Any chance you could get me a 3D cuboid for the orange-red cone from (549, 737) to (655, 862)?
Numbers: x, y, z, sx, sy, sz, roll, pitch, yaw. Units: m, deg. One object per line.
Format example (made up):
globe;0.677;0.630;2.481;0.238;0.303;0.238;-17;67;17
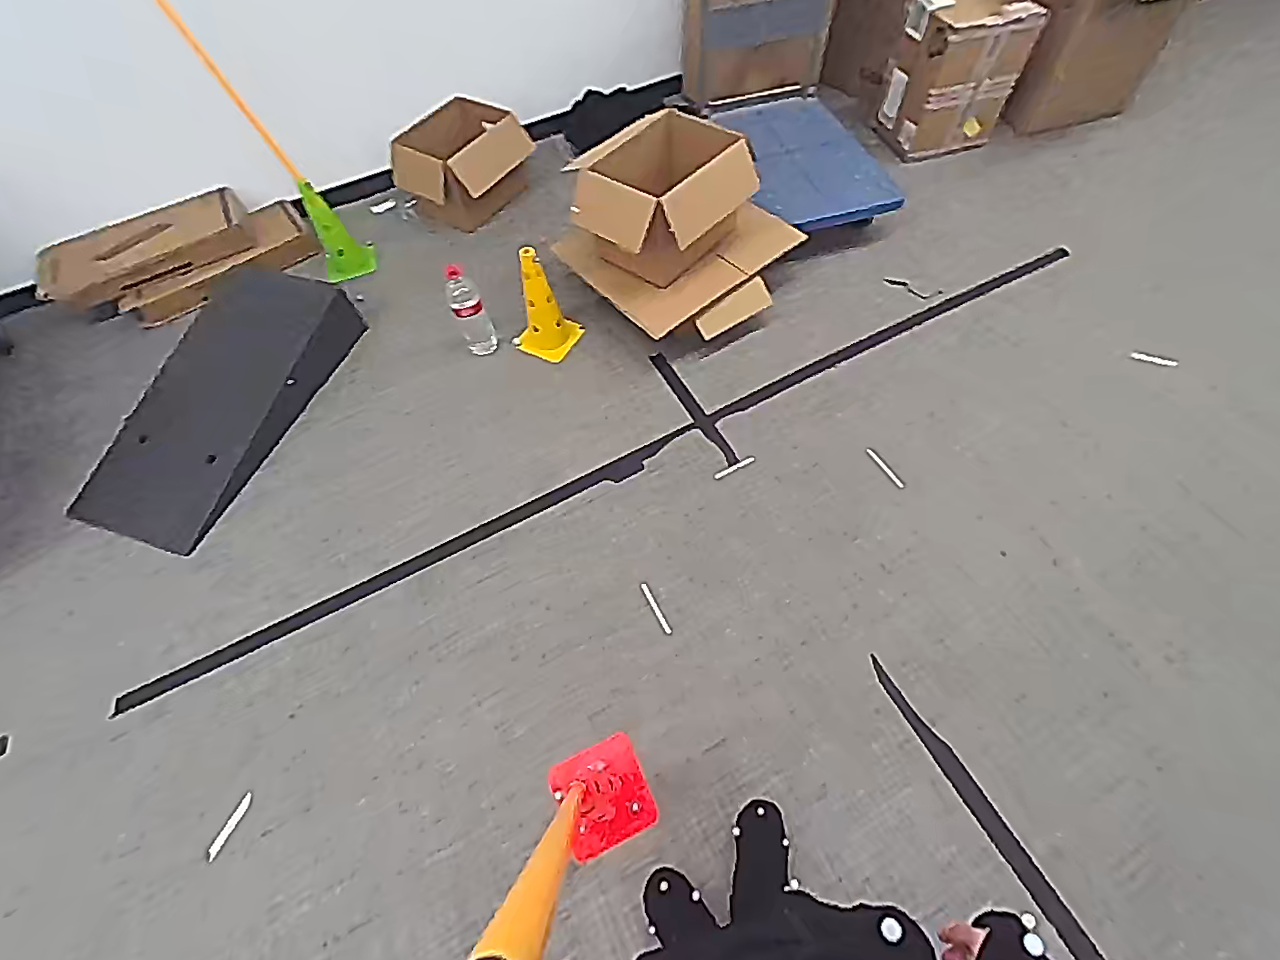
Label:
orange-red cone;-0.097;0.611;1.048;0.198;0.360;0.199;-22;59;-10
